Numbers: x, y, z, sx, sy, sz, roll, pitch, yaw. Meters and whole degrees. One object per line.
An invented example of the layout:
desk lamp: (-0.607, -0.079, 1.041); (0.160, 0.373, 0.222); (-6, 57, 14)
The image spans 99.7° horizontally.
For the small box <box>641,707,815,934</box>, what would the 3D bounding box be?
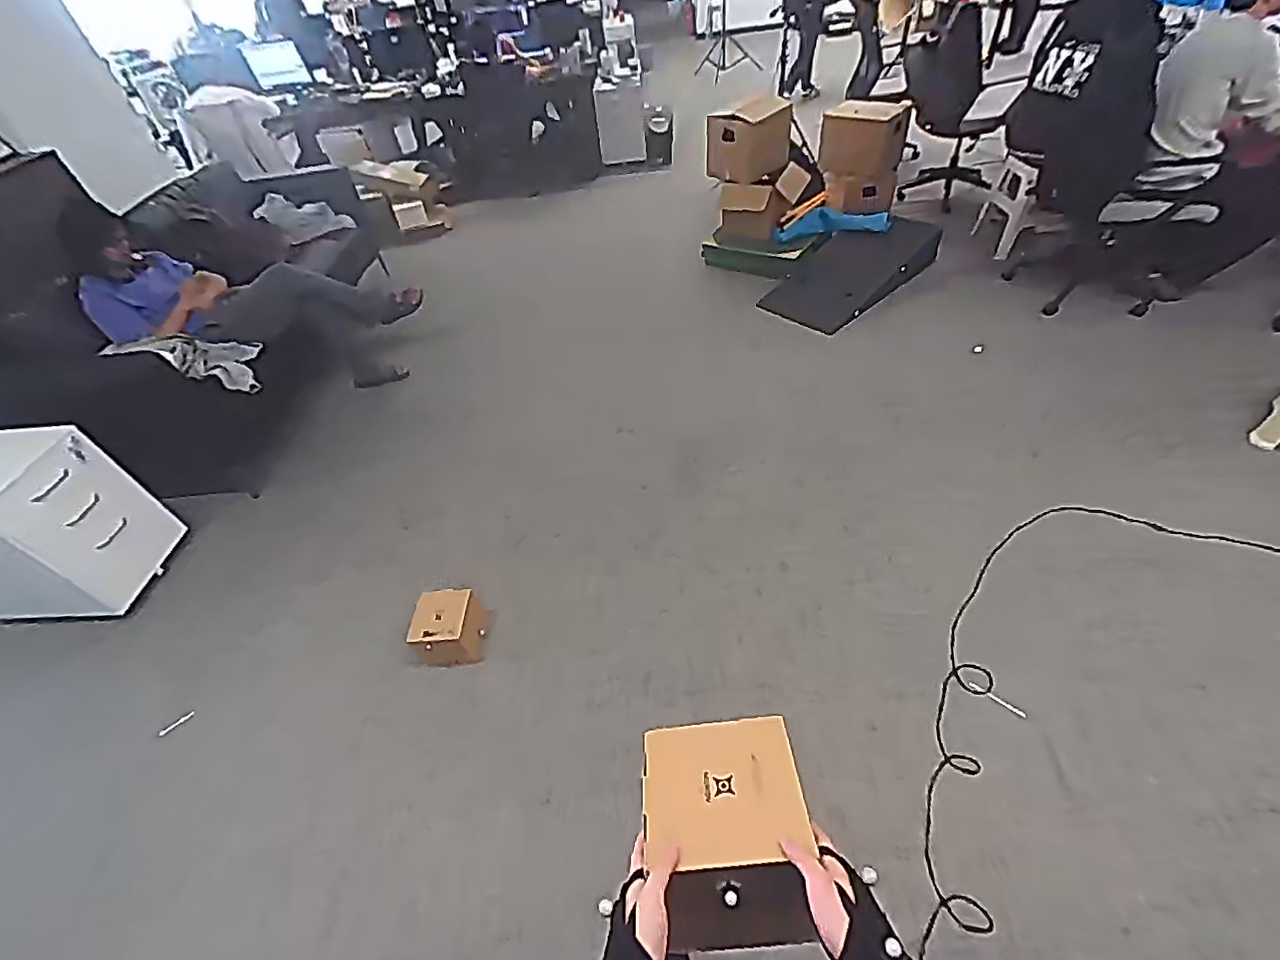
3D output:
small box: (0.101, 0.404, 0.646); (0.179, 0.176, 0.168); (-8, 28, 4)

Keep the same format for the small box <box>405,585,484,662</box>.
small box: (-0.608, 0.455, 1.711); (0.168, 0.176, 0.179); (-5, 46, 5)
